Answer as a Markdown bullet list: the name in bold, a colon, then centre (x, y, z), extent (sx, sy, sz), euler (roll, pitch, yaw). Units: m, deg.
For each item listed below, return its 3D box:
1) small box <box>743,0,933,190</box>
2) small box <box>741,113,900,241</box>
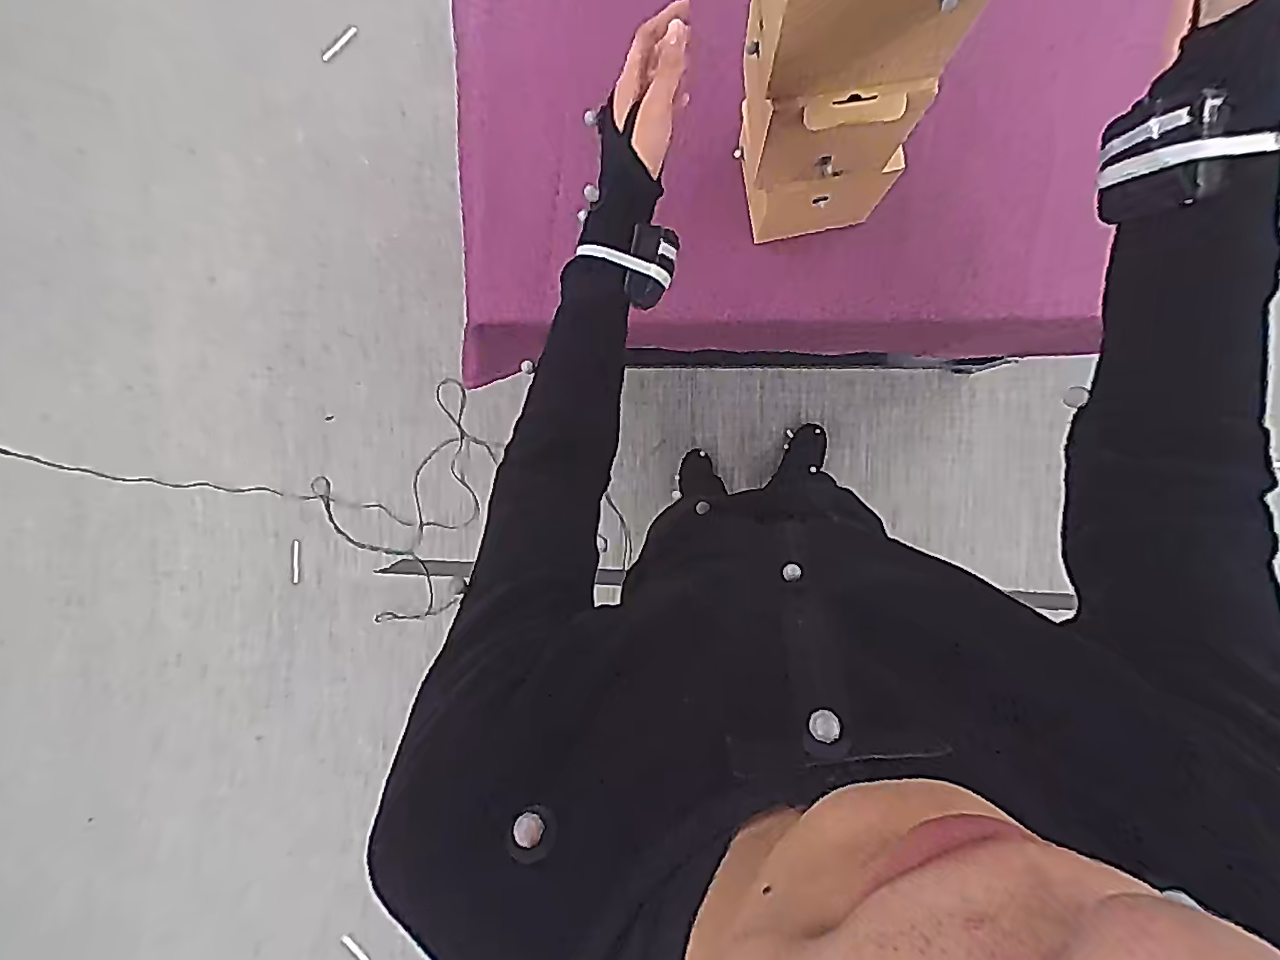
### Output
- **small box**: centre (0.213, -0.469, 0.625), extent (0.168, 0.176, 0.179), euler (-4, 92, 5)
- **small box**: centre (0.248, -0.470, 0.787), extent (0.179, 0.176, 0.168), euler (-10, 92, 4)
